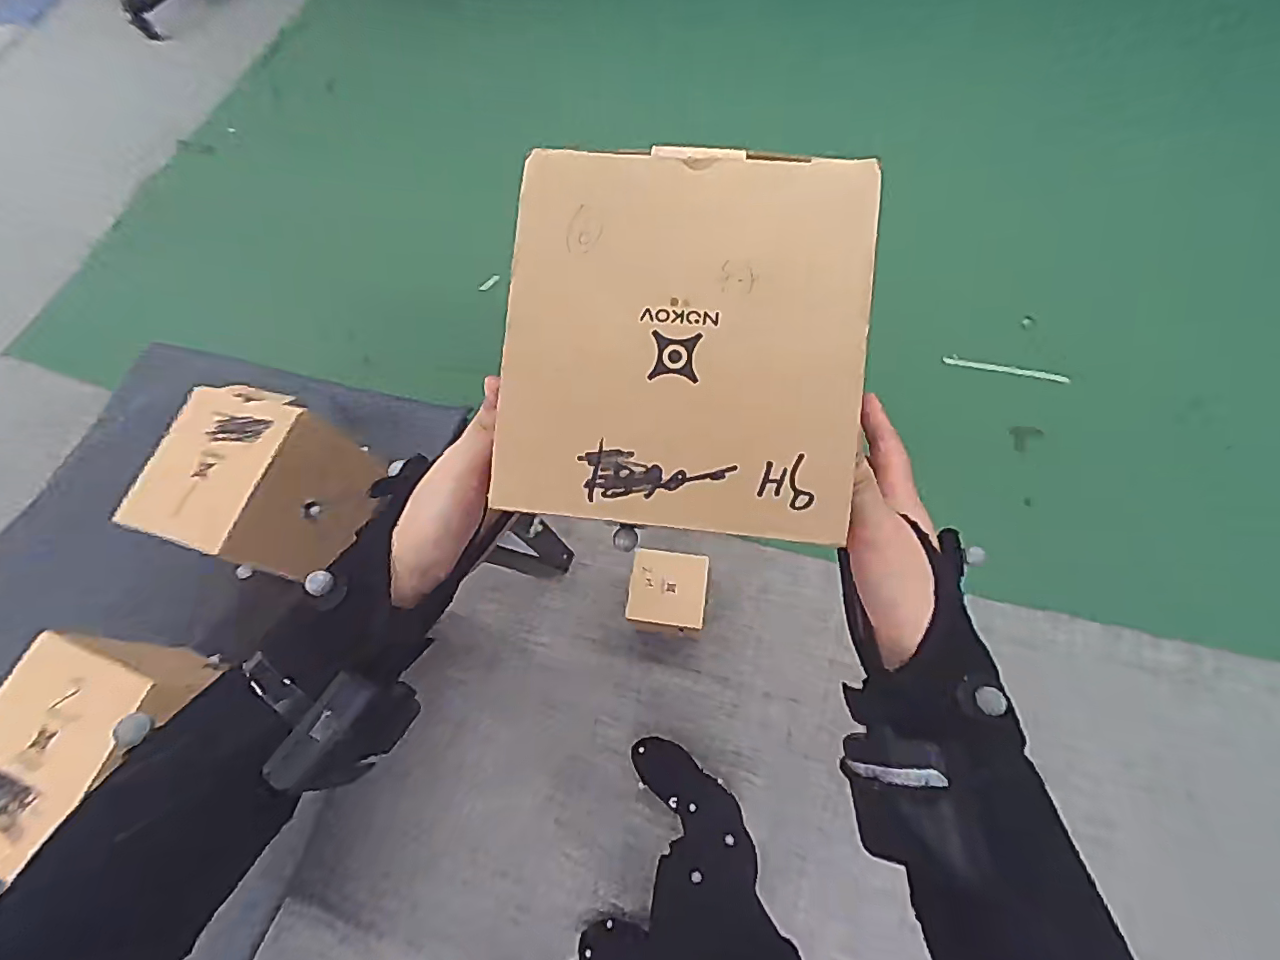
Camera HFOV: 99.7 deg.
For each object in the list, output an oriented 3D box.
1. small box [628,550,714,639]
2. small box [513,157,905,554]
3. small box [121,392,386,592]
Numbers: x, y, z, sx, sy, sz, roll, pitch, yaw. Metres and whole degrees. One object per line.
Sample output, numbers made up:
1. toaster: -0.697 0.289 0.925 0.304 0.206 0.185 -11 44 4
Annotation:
1. small box: 0.080 0.277 1.284 0.179 0.176 0.168 5 67 10
2. small box: 0.039 -0.057 0.329 0.168 0.176 0.179 7 88 7
3. small box: -0.450 0.020 0.665 0.168 0.176 0.179 12 70 17
